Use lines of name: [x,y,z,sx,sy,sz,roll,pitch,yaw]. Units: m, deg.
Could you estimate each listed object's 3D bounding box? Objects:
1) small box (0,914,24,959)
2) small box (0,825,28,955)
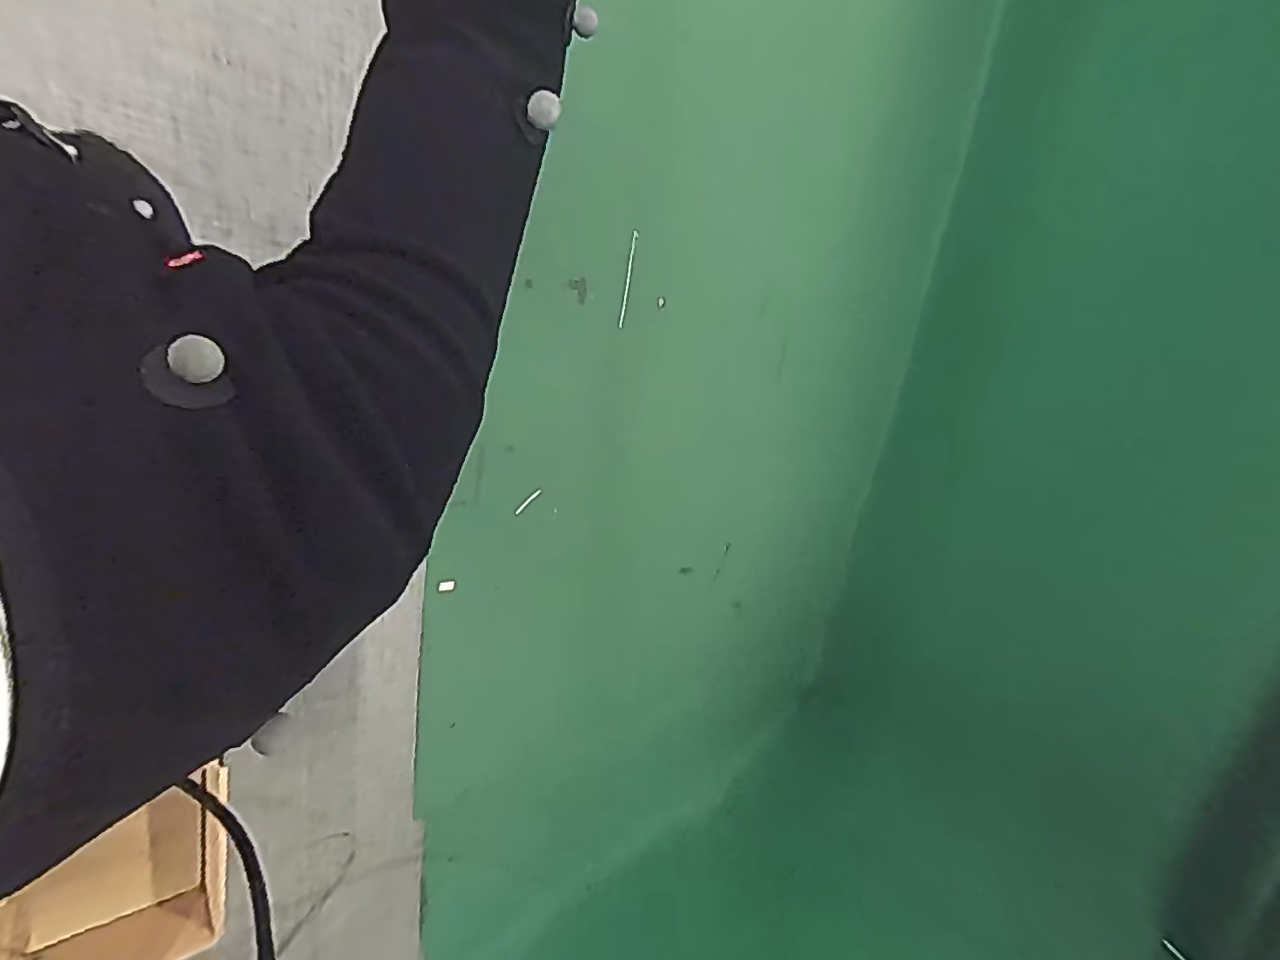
small box: [-0.870,0.675,0.645,0.168,0.176,0.179,-5,111,-43]
small box: [-0.986,0.623,0.748,0.168,0.176,0.179,-6,114,-43]
